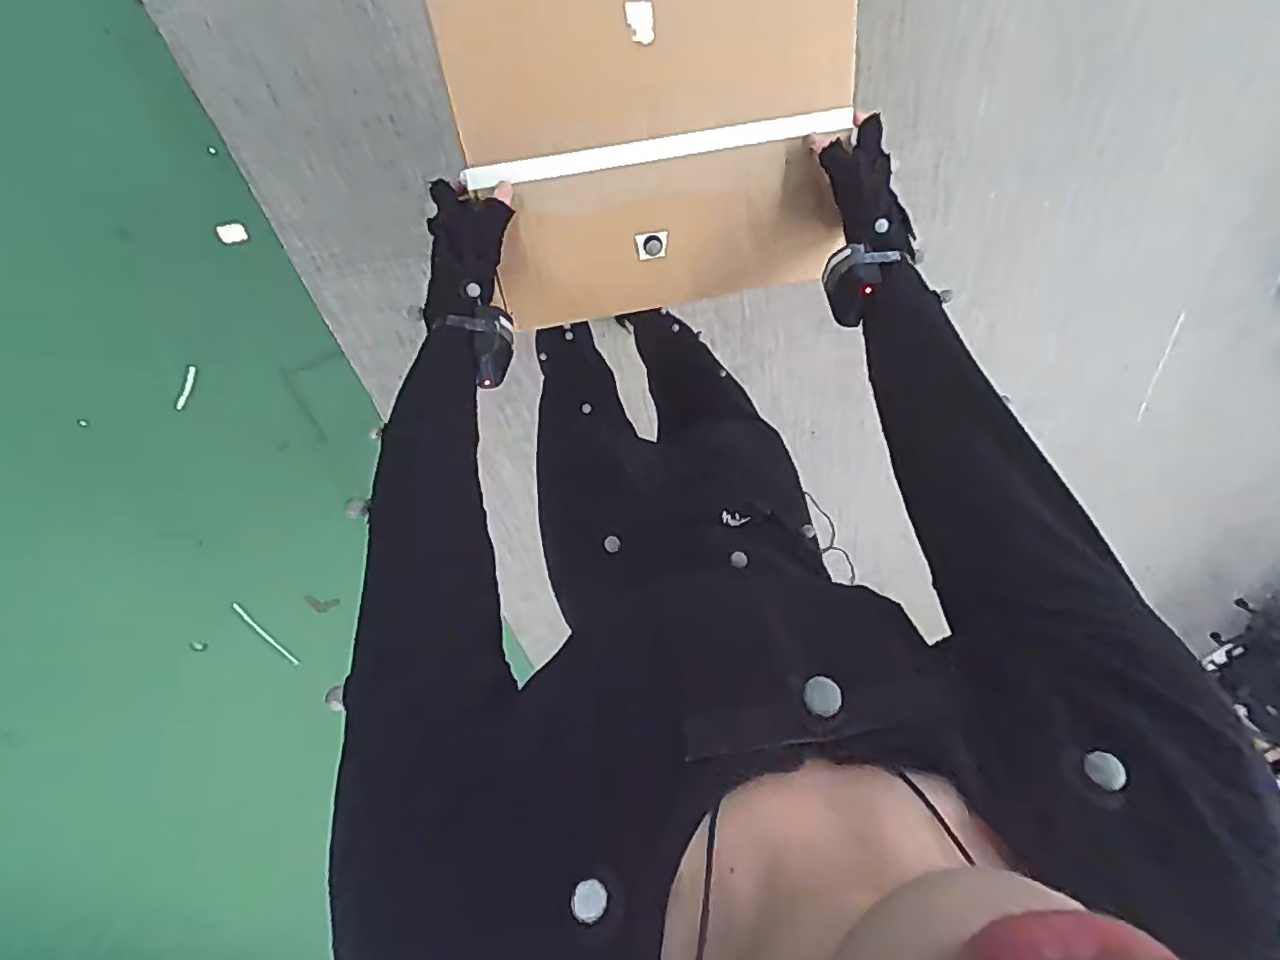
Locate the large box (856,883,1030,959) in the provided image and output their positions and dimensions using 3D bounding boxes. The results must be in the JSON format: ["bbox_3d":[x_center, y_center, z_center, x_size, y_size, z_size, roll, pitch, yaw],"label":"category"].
[{"bbox_3d":[0.931,1.493,1.635,0.408,0.320,0.320,-16,130,-4],"label":"large box"}]
